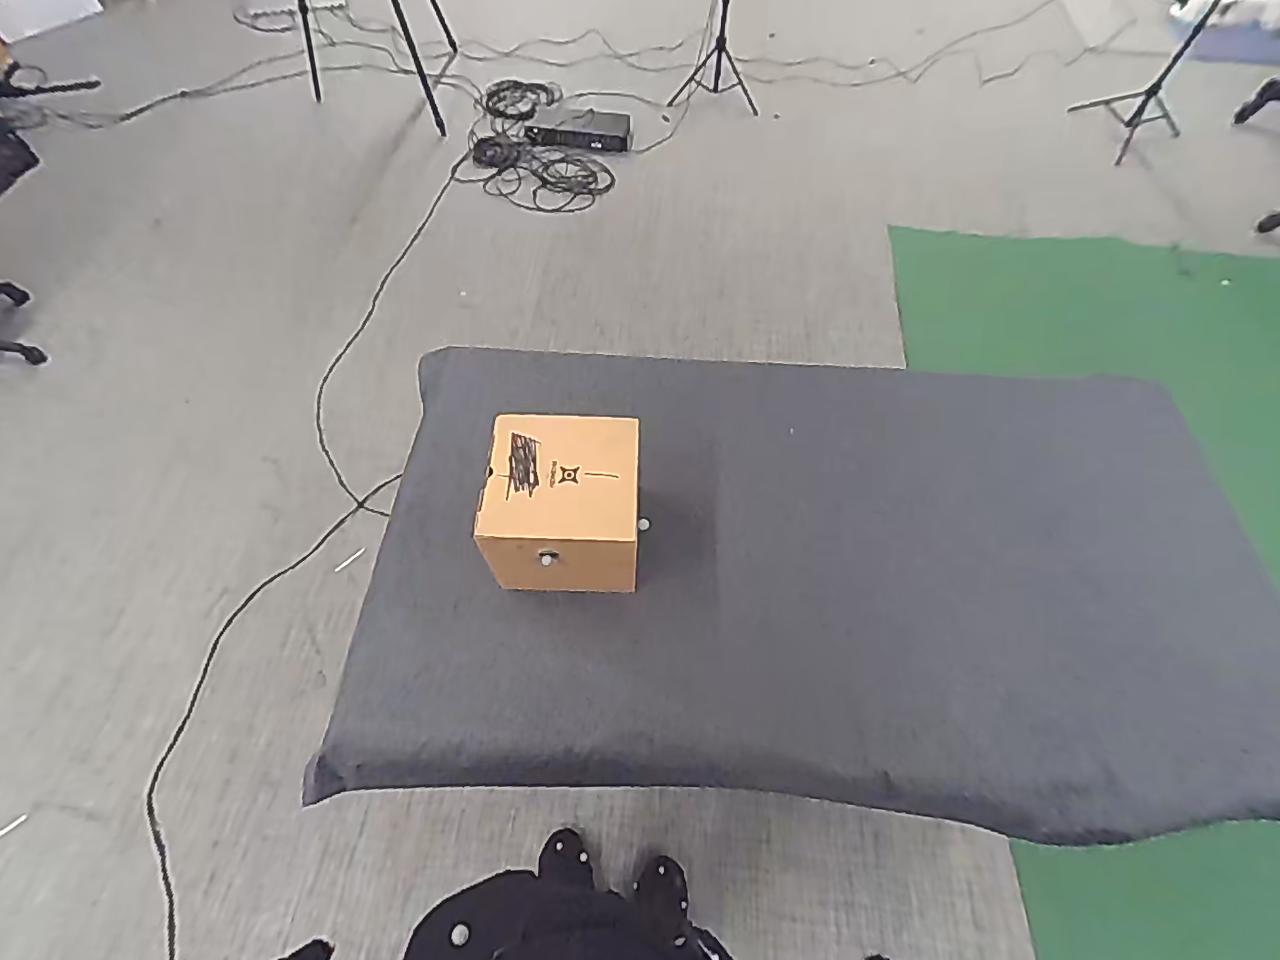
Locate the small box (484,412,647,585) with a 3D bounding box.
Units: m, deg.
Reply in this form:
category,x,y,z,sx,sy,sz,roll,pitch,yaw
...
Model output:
category,x,y,z,sx,sy,sz,roll,pitch,yaw
small box,-0.082,0.030,0.694,0.179,0.176,0.168,2,61,0
